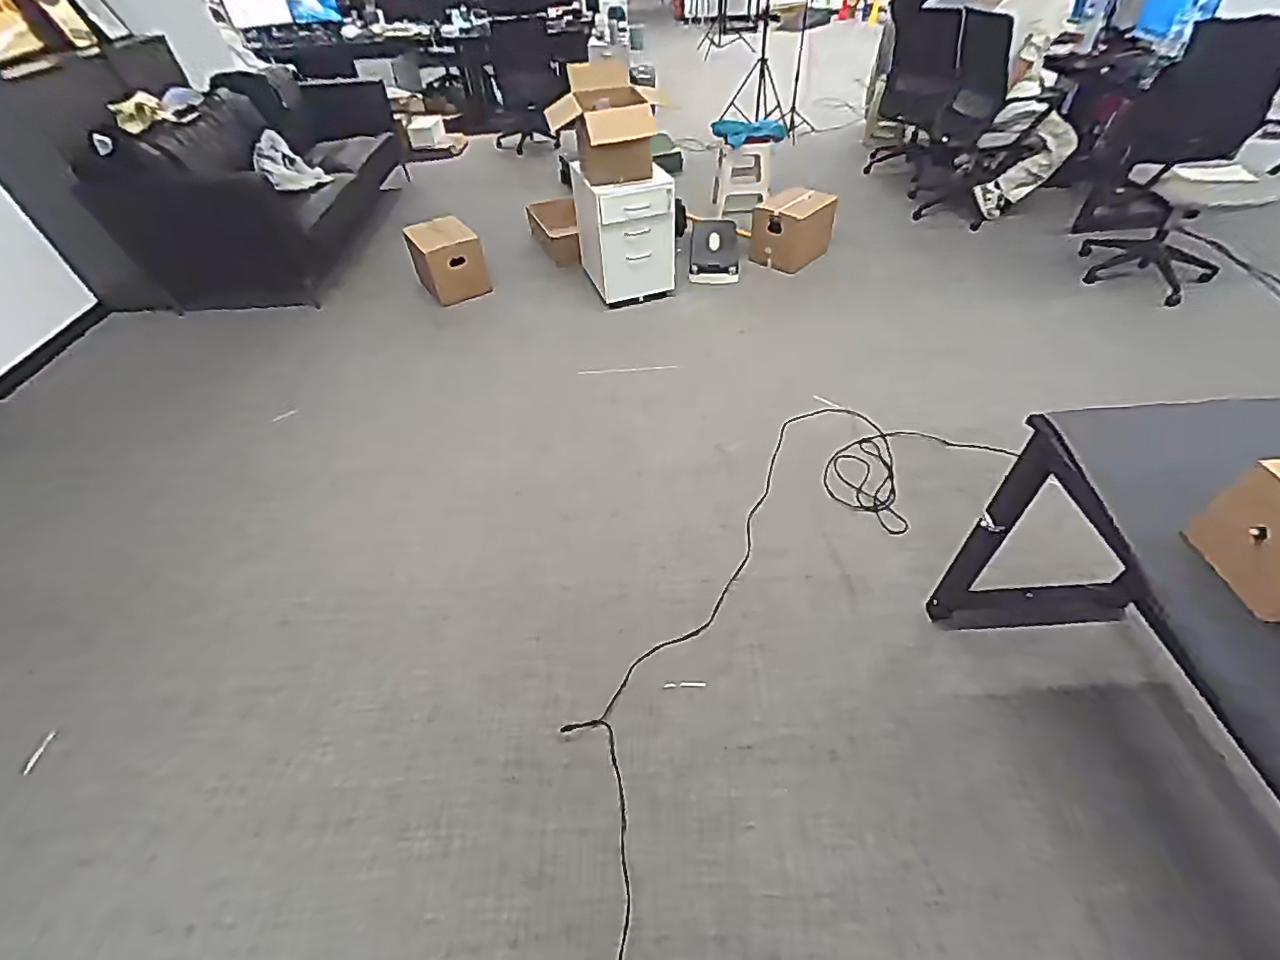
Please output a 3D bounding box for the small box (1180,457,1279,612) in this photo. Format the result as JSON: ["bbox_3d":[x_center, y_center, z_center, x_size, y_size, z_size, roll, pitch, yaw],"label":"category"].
[{"bbox_3d":[0.981,0.083,0.793,0.168,0.176,0.179,-1,46,1],"label":"small box"}]
